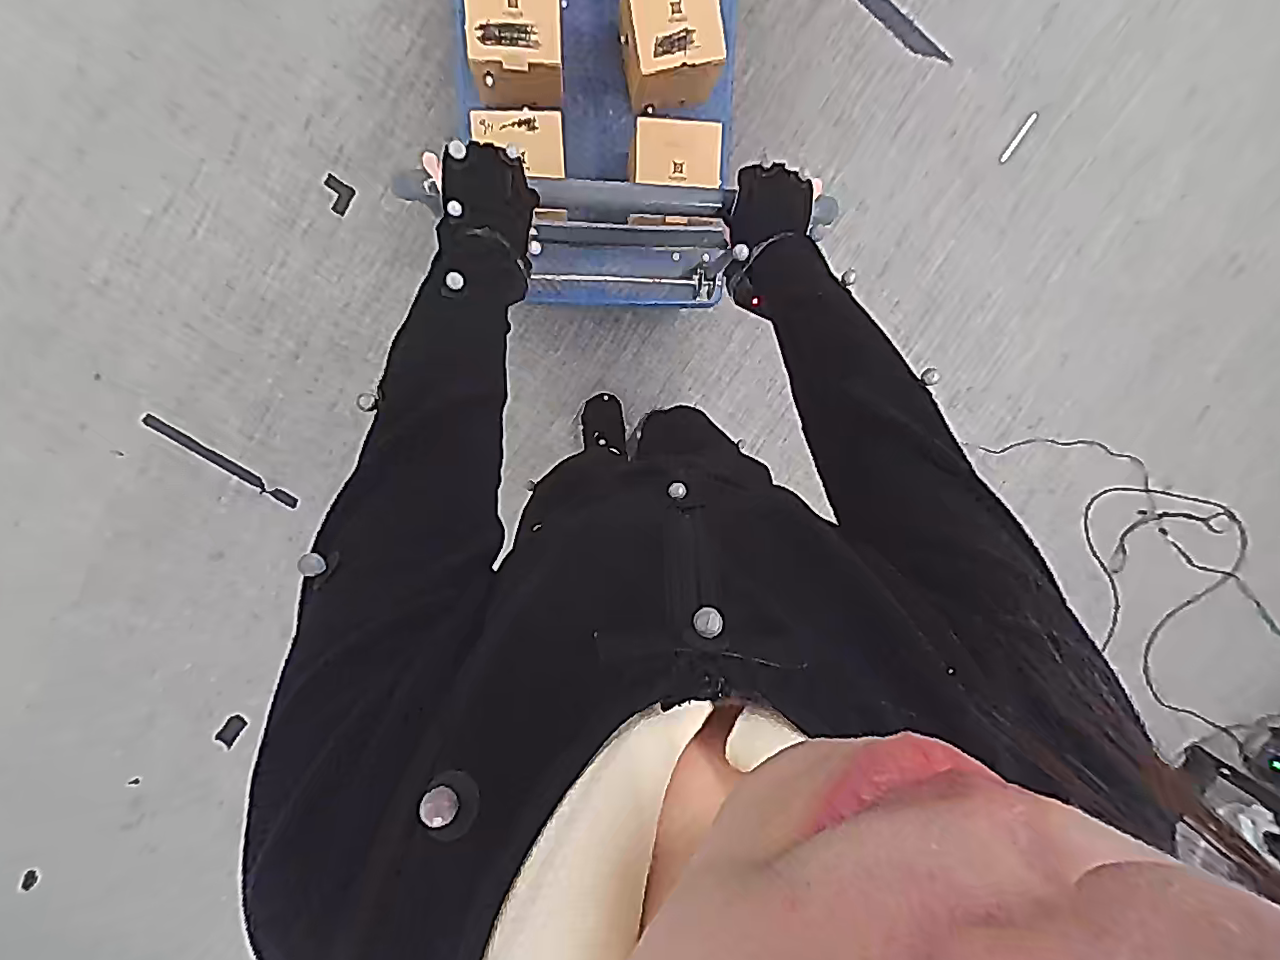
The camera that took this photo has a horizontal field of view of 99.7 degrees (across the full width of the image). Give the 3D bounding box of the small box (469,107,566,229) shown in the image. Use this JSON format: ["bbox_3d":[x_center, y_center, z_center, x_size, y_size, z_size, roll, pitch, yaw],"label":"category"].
[{"bbox_3d":[-0.234,-0.608,1.076,0.168,0.176,0.179,-4,103,-7],"label":"small box"}]

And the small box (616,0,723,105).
[{"bbox_3d":[0.052,-0.868,1.058,0.168,0.176,0.179,-12,102,-4],"label":"small box"}]

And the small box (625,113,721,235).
[{"bbox_3d":[0.061,-0.616,1.113,0.168,0.176,0.179,0,101,-7],"label":"small box"}]
